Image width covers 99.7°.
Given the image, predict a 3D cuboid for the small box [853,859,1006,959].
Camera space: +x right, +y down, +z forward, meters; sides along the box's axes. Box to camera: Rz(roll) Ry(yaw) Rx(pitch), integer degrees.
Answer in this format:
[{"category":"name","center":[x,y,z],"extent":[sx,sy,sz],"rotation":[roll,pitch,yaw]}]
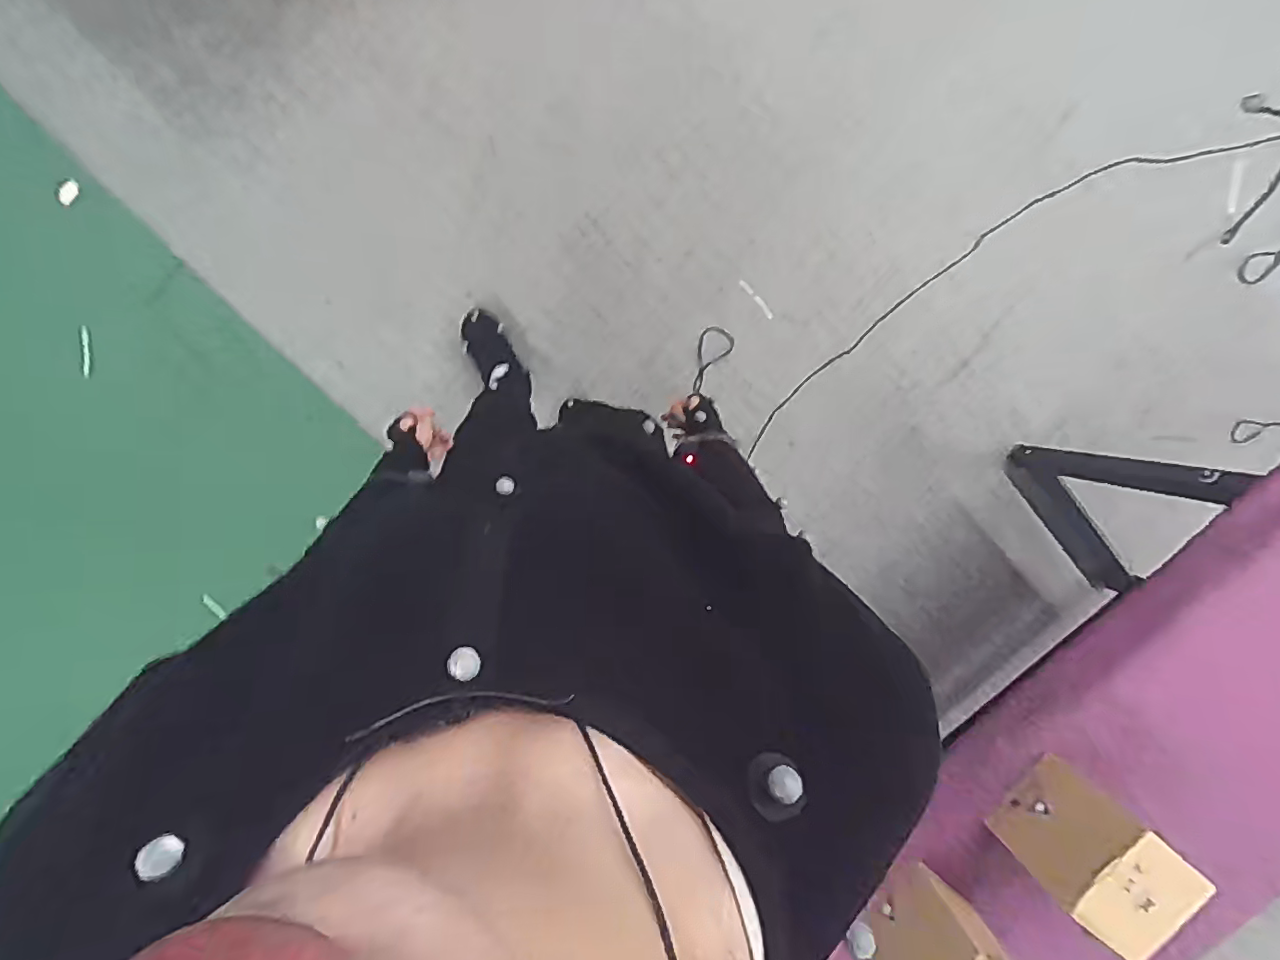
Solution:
[{"category":"small box","center":[0.469,0.765,0.857],"extent":[0.168,0.176,0.179],"rotation":[43,94,-10]}]

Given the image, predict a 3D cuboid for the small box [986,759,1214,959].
[{"category":"small box","center":[0.703,0.582,0.846],"extent":[0.179,0.176,0.168],"rotation":[40,94,-11]}]
